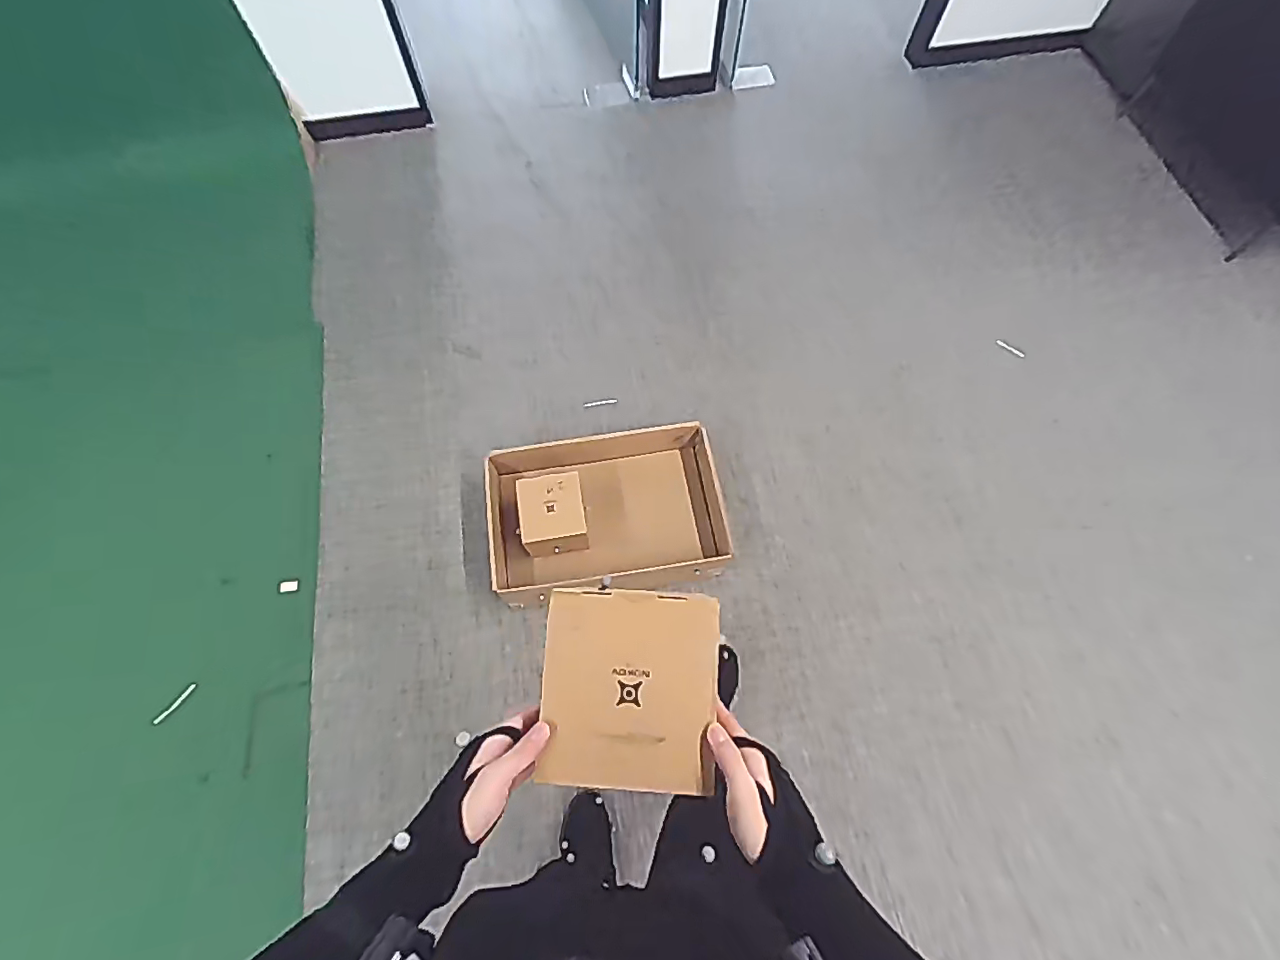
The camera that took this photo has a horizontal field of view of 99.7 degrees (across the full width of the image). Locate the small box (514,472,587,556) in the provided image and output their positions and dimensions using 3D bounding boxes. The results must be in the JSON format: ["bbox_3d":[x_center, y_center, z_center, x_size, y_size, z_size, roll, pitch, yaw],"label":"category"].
[{"bbox_3d":[-0.238,0.098,1.455,0.168,0.176,0.179,-8,68,-6],"label":"small box"}]

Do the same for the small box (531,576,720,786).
[{"bbox_3d":[-0.010,0.200,0.581,0.168,0.176,0.179,4,79,3],"label":"small box"}]
